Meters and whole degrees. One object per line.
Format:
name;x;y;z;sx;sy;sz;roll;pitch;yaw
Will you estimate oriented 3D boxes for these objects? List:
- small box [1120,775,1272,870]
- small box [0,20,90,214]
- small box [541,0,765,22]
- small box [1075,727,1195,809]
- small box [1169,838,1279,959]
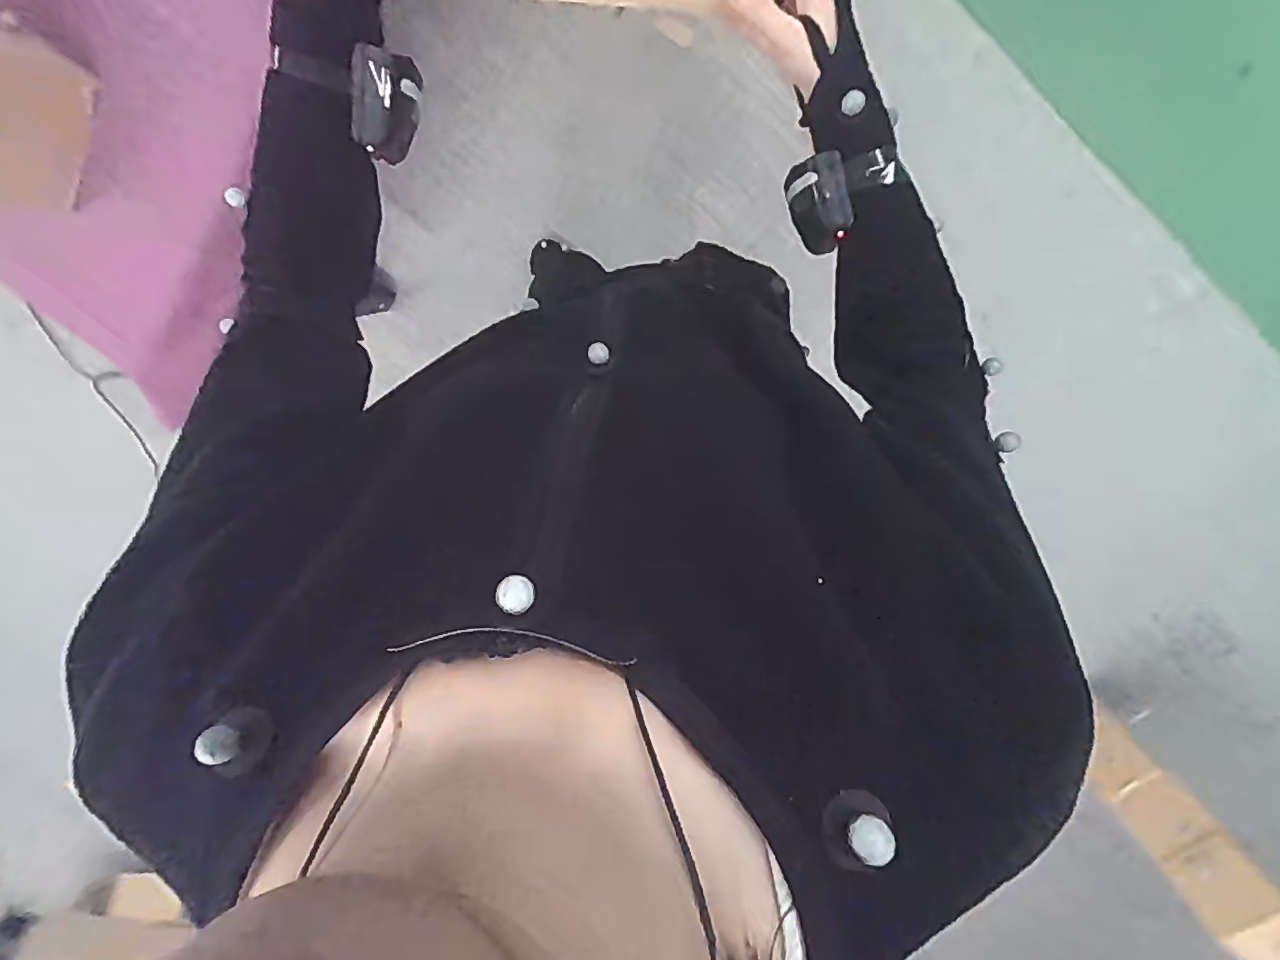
small box;1.400;0.895;1.376;0.168;0.176;0.179;35;111;-10
small box;-0.755;-0.409;0.575;0.168;0.176;0.179;33;111;-10
small box;0.003;-0.439;0.349;0.179;0.176;0.168;0;149;-7
small box;1.401;0.835;1.529;0.179;0.176;0.168;35;111;-9
small box;1.387;0.959;1.225;0.179;0.176;0.168;34;110;-10
